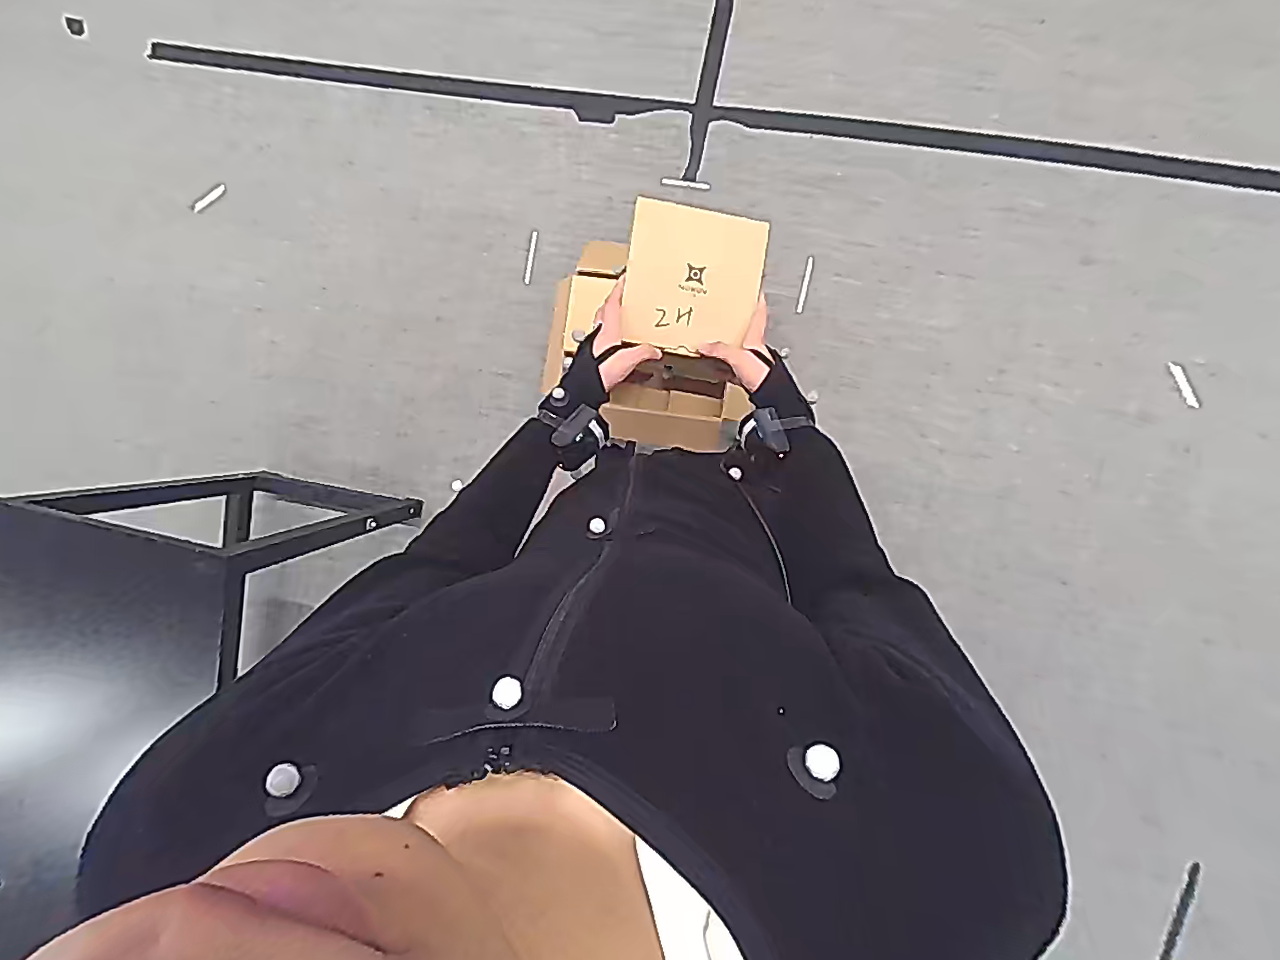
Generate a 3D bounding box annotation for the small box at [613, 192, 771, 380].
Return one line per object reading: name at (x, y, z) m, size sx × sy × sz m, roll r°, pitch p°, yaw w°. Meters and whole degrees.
small box at (0.057, -0.243, 0.721) m, size 0.168 × 0.176 × 0.179 m, roll 9°, pitch 92°, yaw -5°
